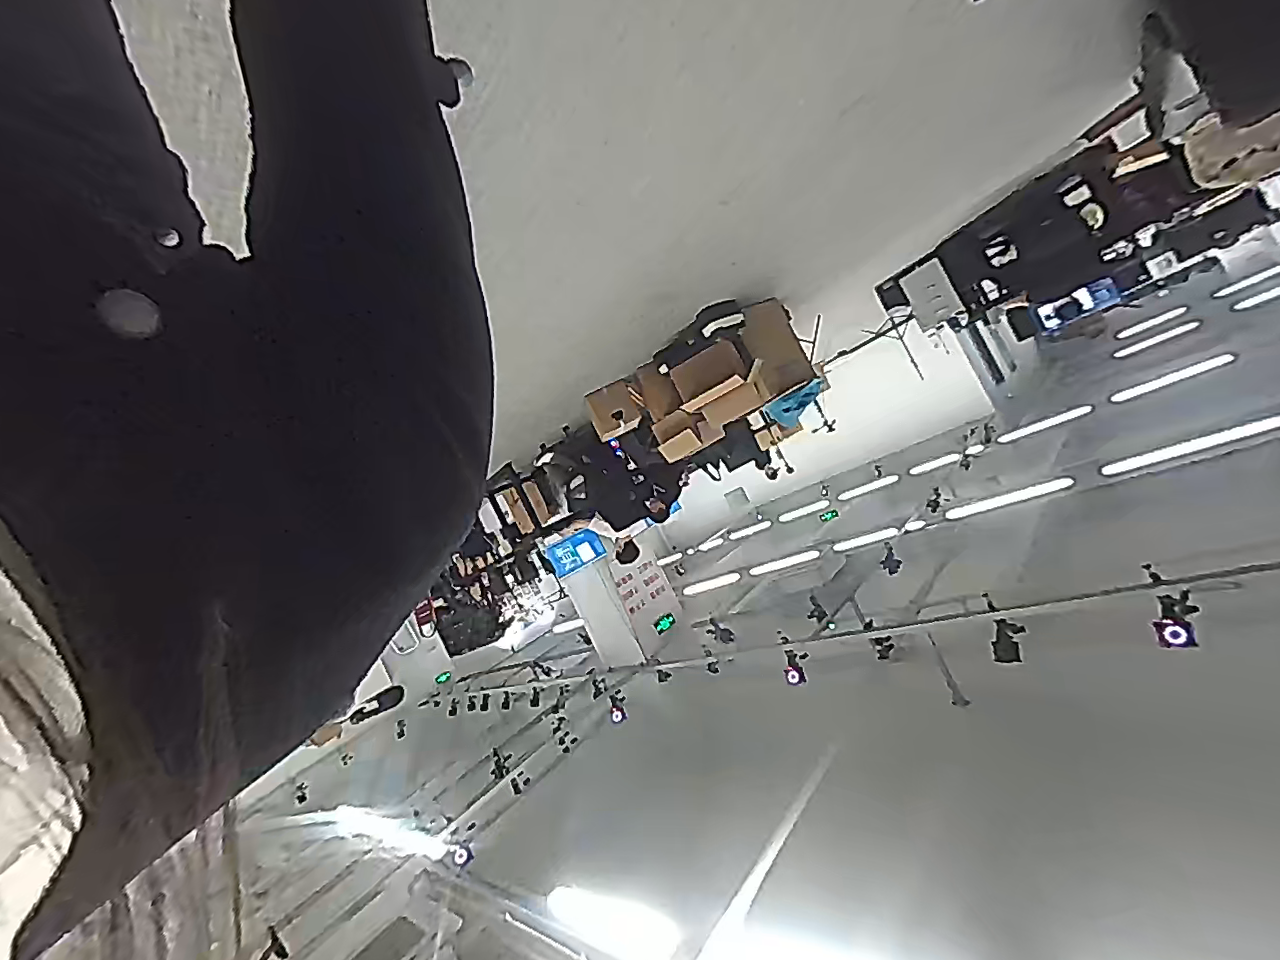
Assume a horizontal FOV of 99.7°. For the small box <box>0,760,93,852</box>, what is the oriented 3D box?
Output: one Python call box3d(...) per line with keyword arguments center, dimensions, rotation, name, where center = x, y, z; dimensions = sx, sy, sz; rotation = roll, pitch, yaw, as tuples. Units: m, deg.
box3d(center=(-1.797, 0.964, 1.619), dimensions=(0.179, 0.176, 0.168), rotation=(-25, 176, -45), name="small box")
